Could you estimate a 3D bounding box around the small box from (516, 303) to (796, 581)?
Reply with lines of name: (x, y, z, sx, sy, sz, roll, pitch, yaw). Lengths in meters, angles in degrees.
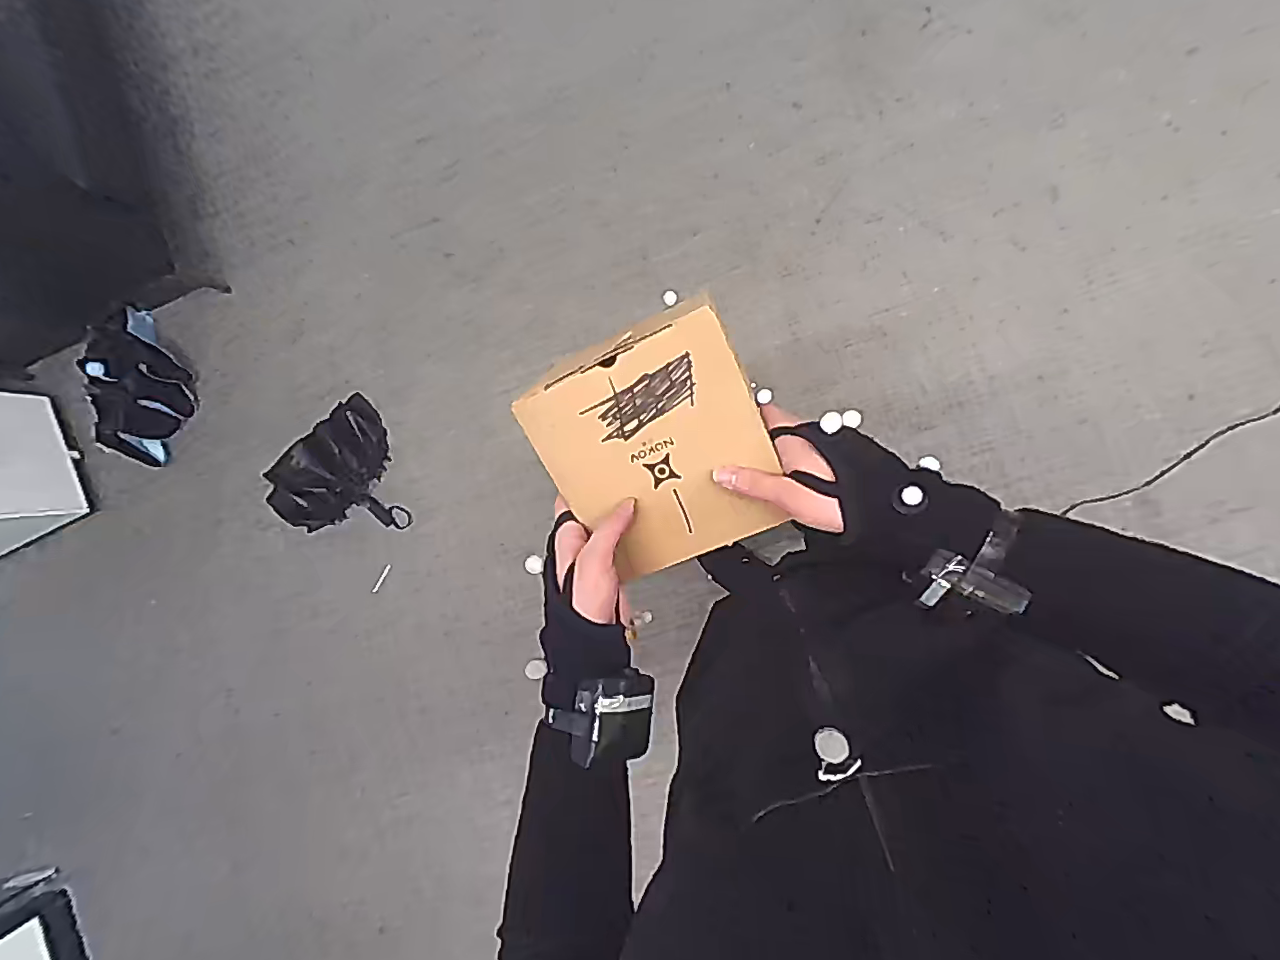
small box: (0.020, -0.046, 0.491, 0.168, 0.176, 0.179, -24, 108, 15)
